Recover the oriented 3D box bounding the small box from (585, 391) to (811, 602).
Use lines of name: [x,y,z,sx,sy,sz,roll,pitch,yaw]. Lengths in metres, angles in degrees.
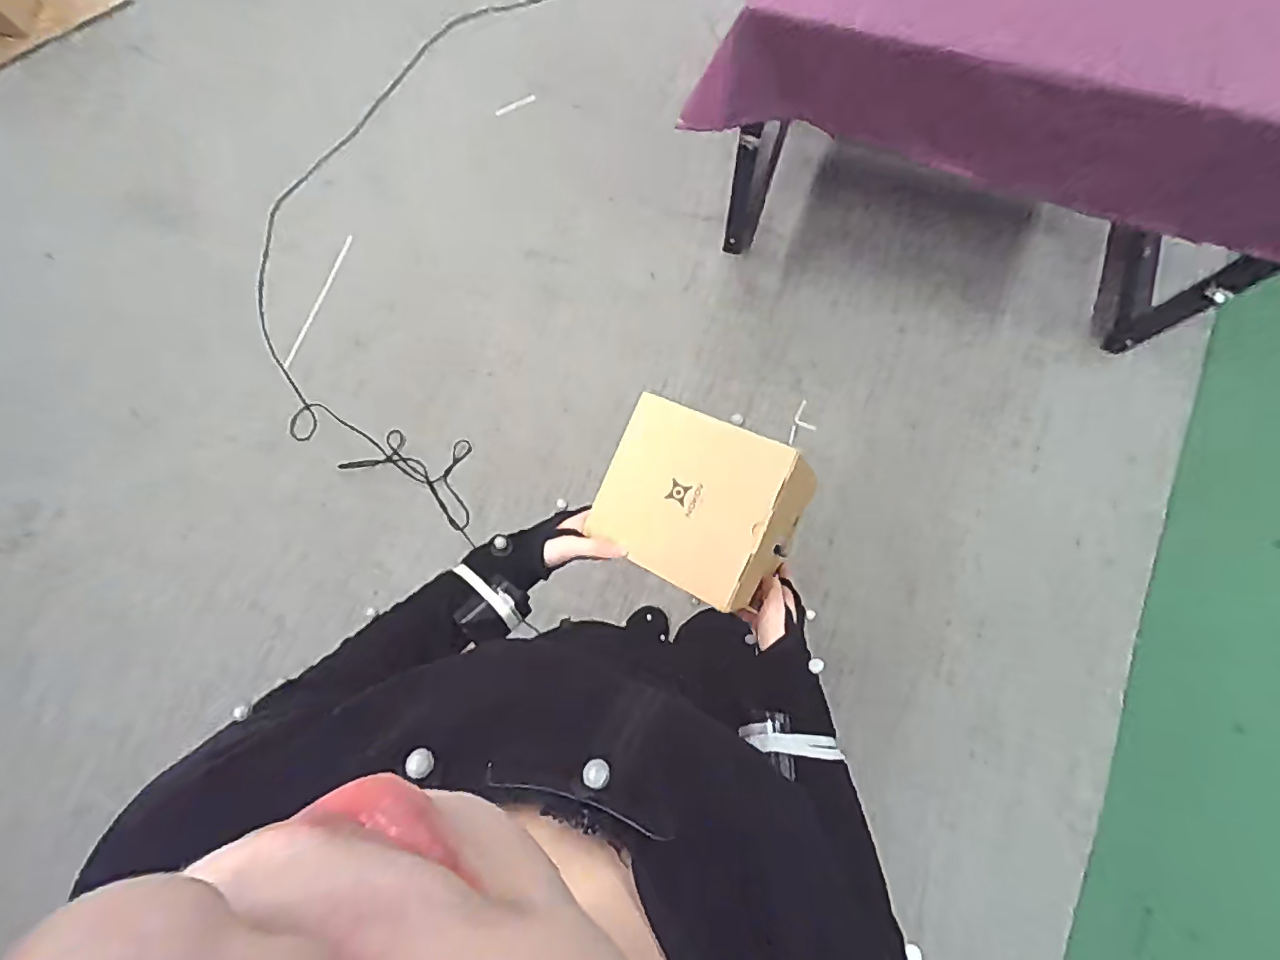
small box: [0.074,0.023,0.610,0.179,0.176,0.168,25,92,24]
